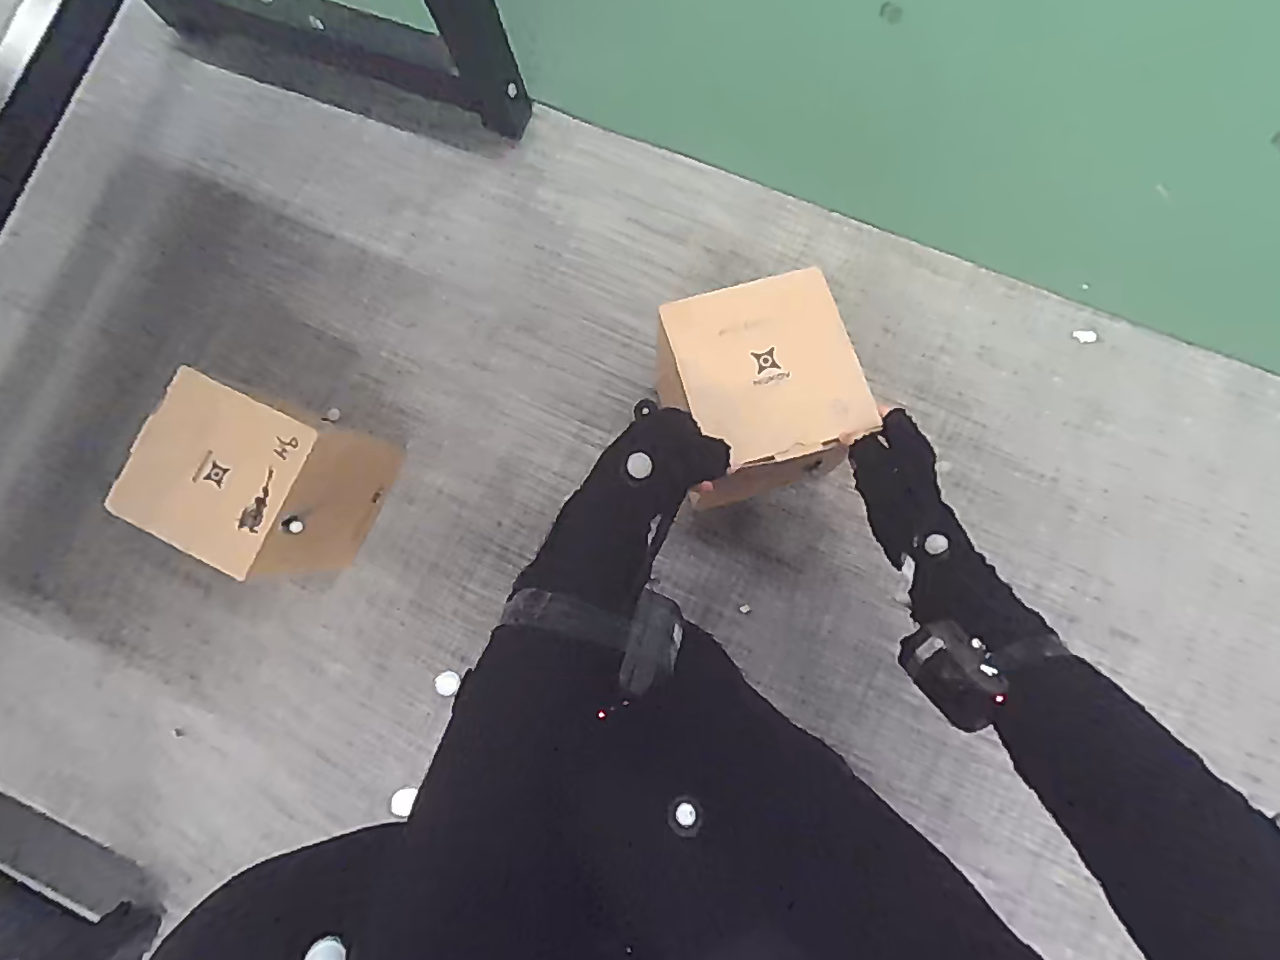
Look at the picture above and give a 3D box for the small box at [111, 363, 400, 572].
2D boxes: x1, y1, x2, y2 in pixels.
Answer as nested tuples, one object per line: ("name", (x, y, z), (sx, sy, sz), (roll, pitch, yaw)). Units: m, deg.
("small box", (-0.424, -0.007, 0.625), (0.179, 0.176, 0.168), (25, 88, 8))
